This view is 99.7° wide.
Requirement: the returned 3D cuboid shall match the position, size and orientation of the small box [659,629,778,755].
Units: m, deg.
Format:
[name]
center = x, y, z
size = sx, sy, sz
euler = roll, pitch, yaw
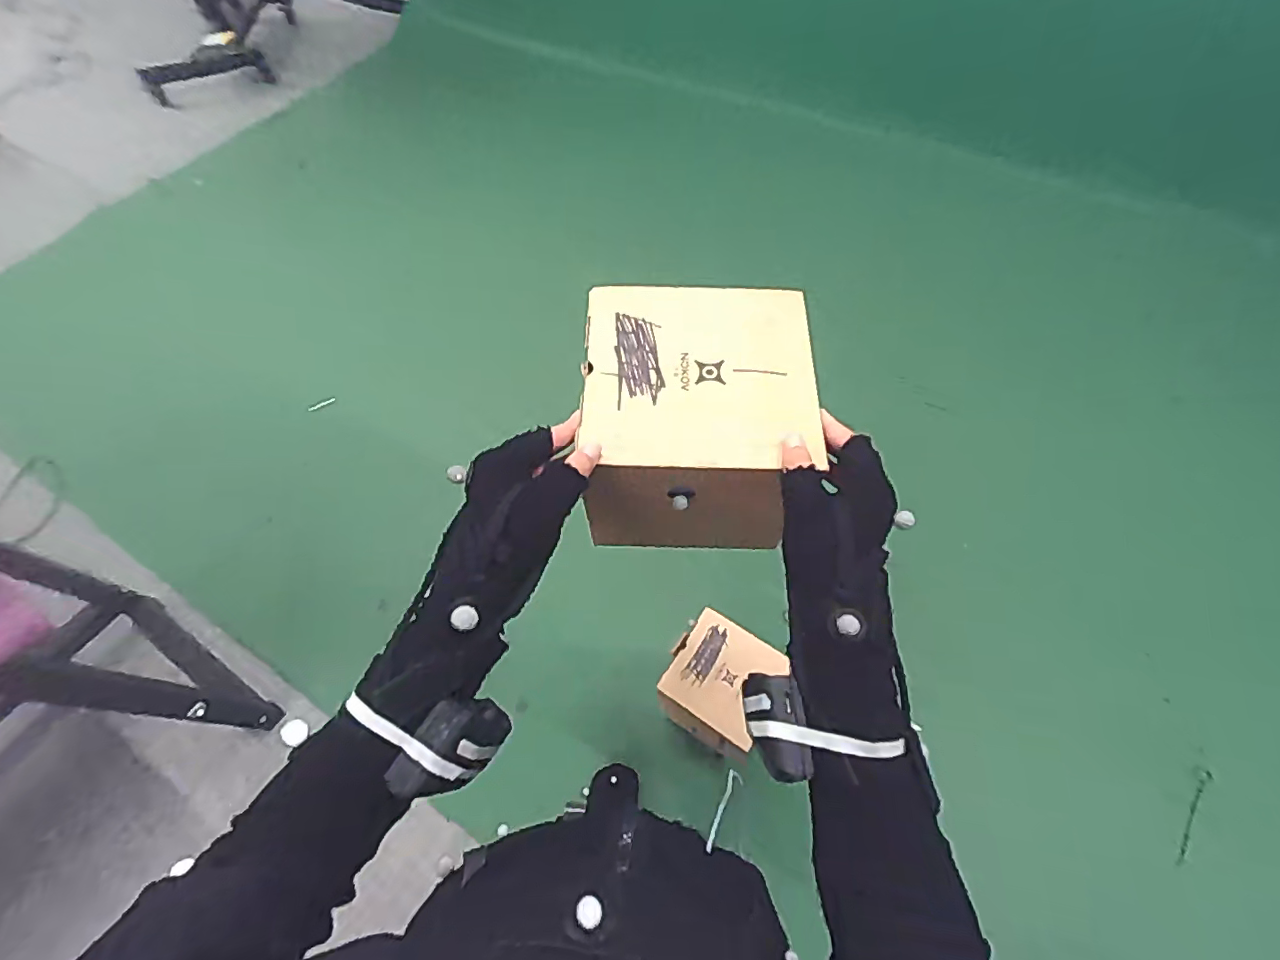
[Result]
[small box]
center = 0.156, 0.439, 1.112
size = 0.179, 0.176, 0.168
euler = 30, 67, 18
